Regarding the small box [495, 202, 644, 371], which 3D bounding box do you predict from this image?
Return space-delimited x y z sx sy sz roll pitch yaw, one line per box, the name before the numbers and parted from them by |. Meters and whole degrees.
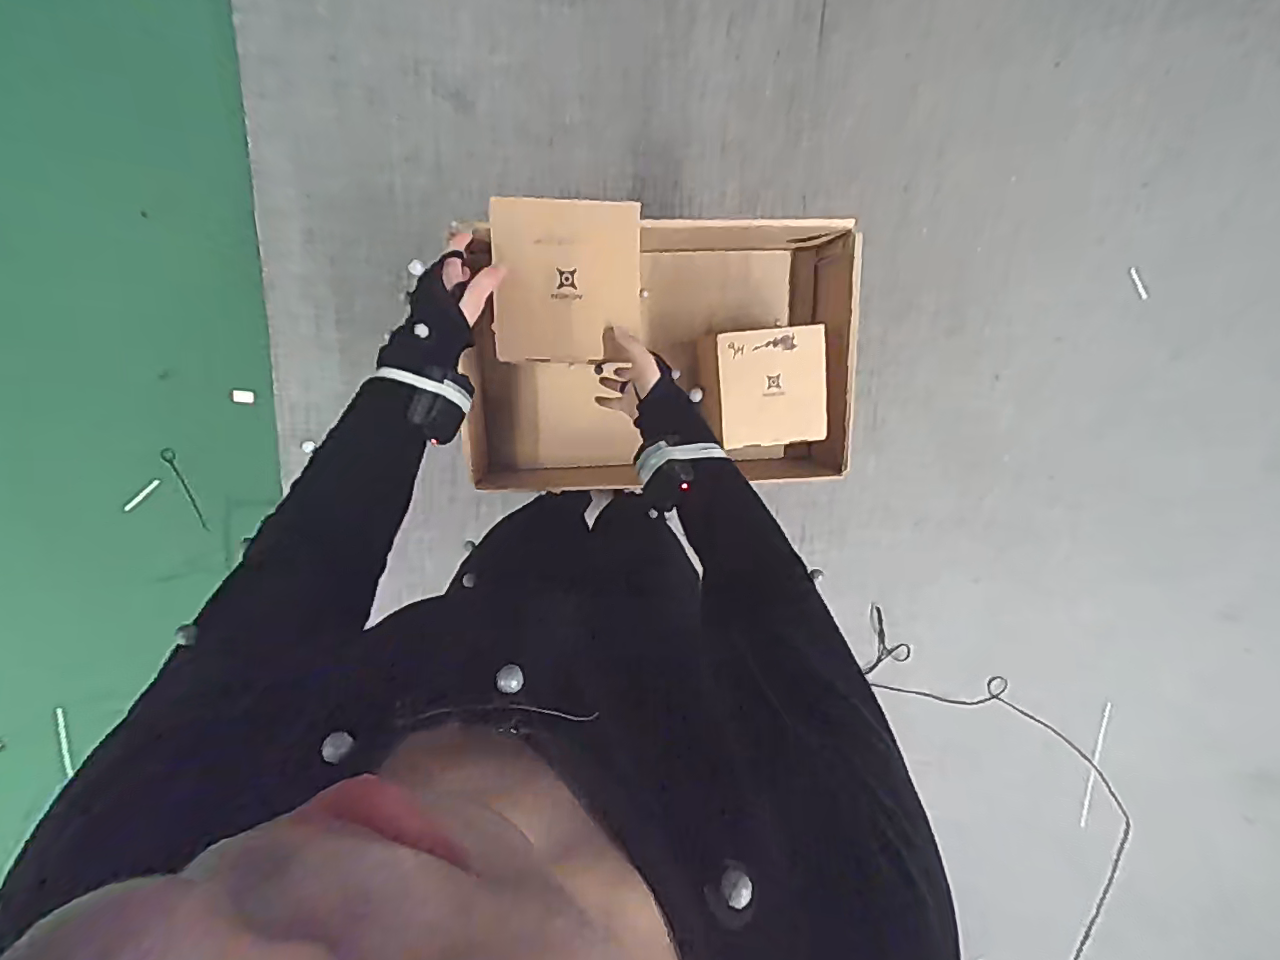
small box | -0.087 -0.232 0.689 0.168 0.176 0.179 0 101 -6
